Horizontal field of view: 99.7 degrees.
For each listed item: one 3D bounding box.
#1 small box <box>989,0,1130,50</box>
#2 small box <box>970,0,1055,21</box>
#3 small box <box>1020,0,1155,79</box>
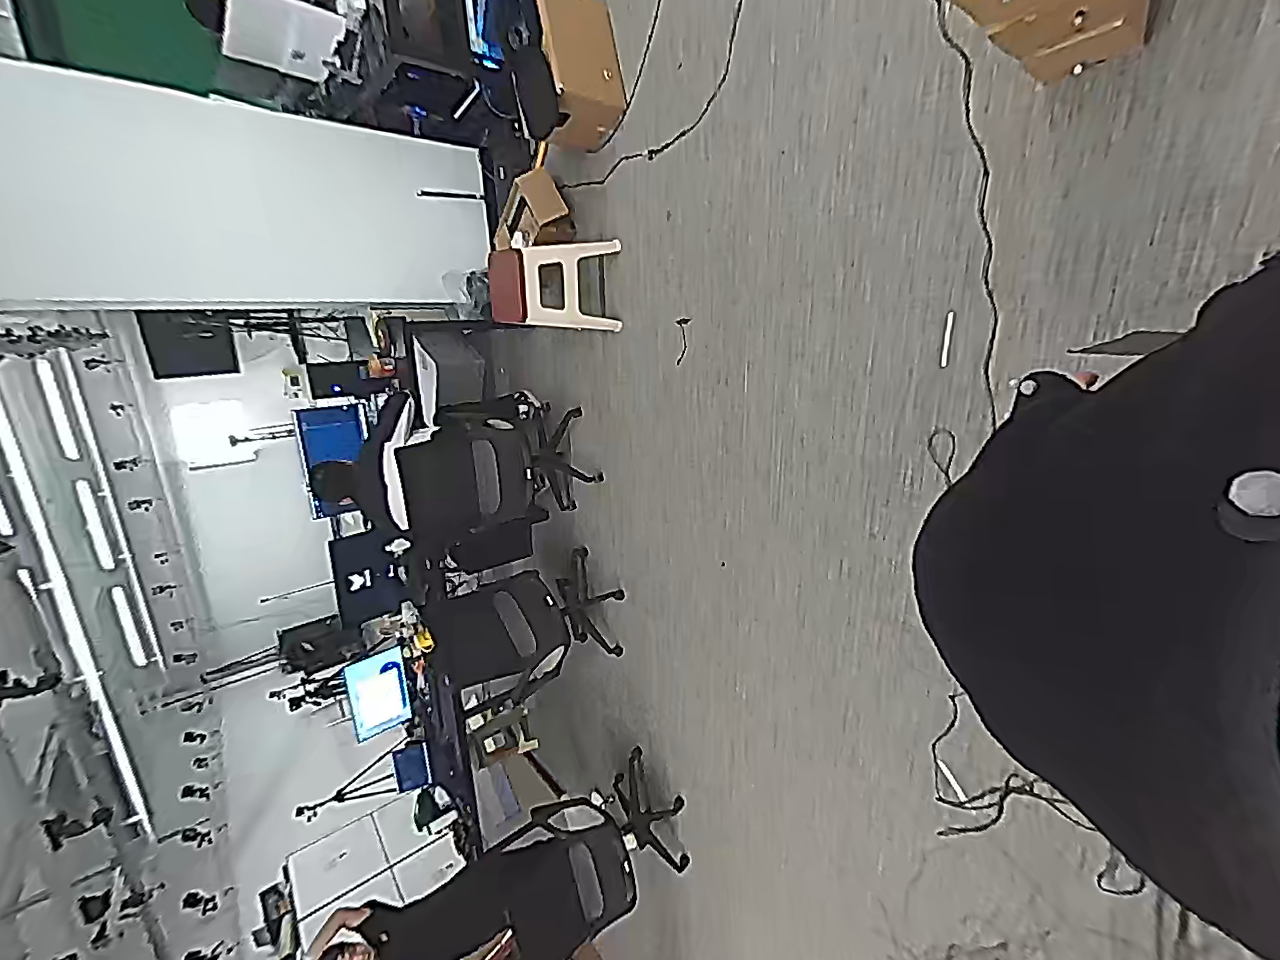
[{"bbox_3d":[0.726,-0.882,0.928,0.168,0.176,0.179,9,107,50],"label":"small box"},{"bbox_3d":[0.607,-0.847,0.820,0.179,0.176,0.168,20,116,49],"label":"small box"},{"bbox_3d":[0.854,-0.907,1.025,0.168,0.176,0.179,15,113,50],"label":"small box"}]
